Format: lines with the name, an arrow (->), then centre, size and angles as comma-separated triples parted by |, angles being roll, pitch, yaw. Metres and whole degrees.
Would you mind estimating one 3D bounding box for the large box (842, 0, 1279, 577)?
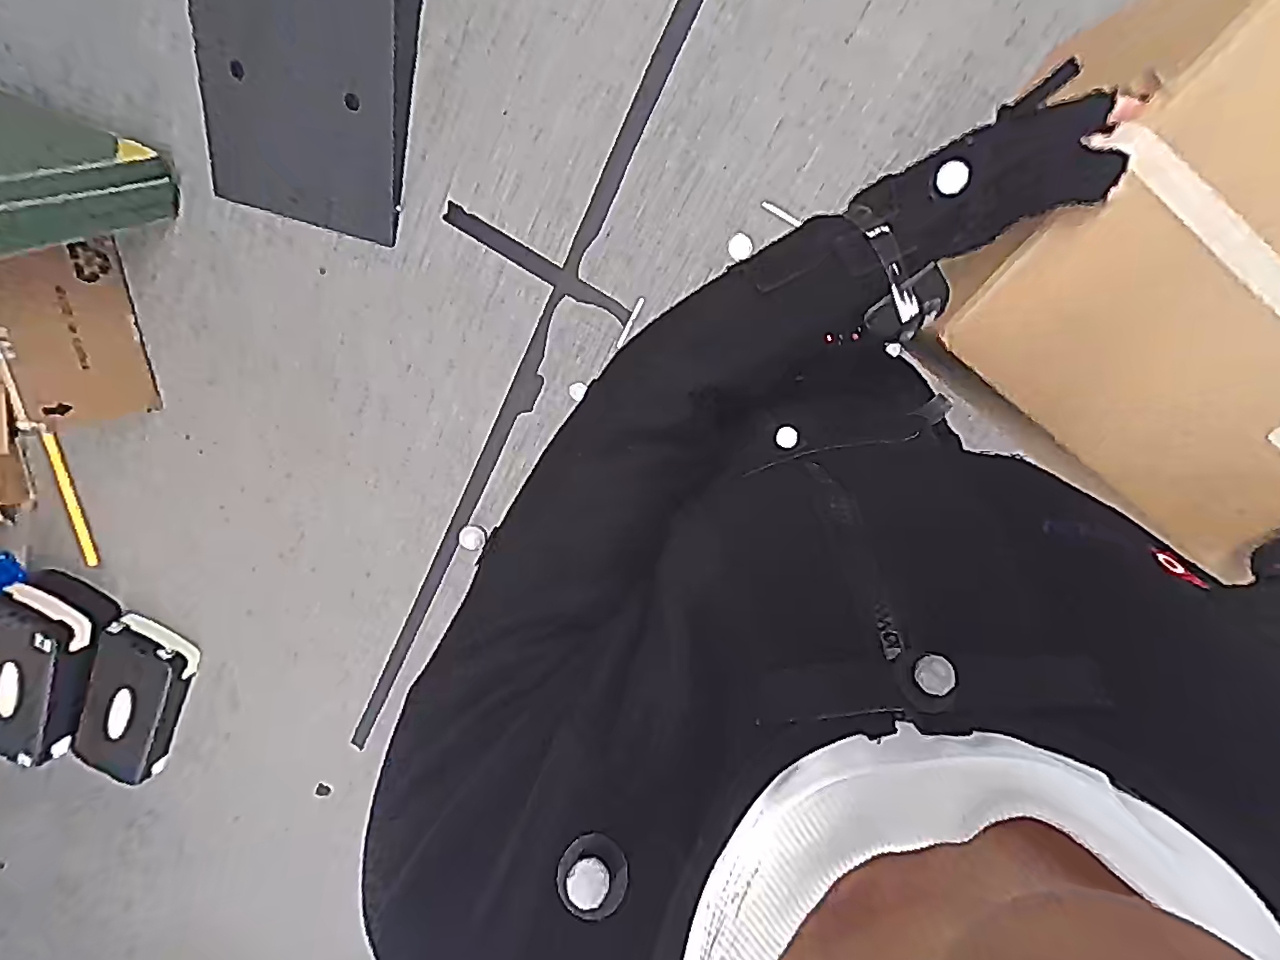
large box -> 0.482, -0.189, 0.523 | 0.408, 0.320, 0.320 | 34, 114, -9
